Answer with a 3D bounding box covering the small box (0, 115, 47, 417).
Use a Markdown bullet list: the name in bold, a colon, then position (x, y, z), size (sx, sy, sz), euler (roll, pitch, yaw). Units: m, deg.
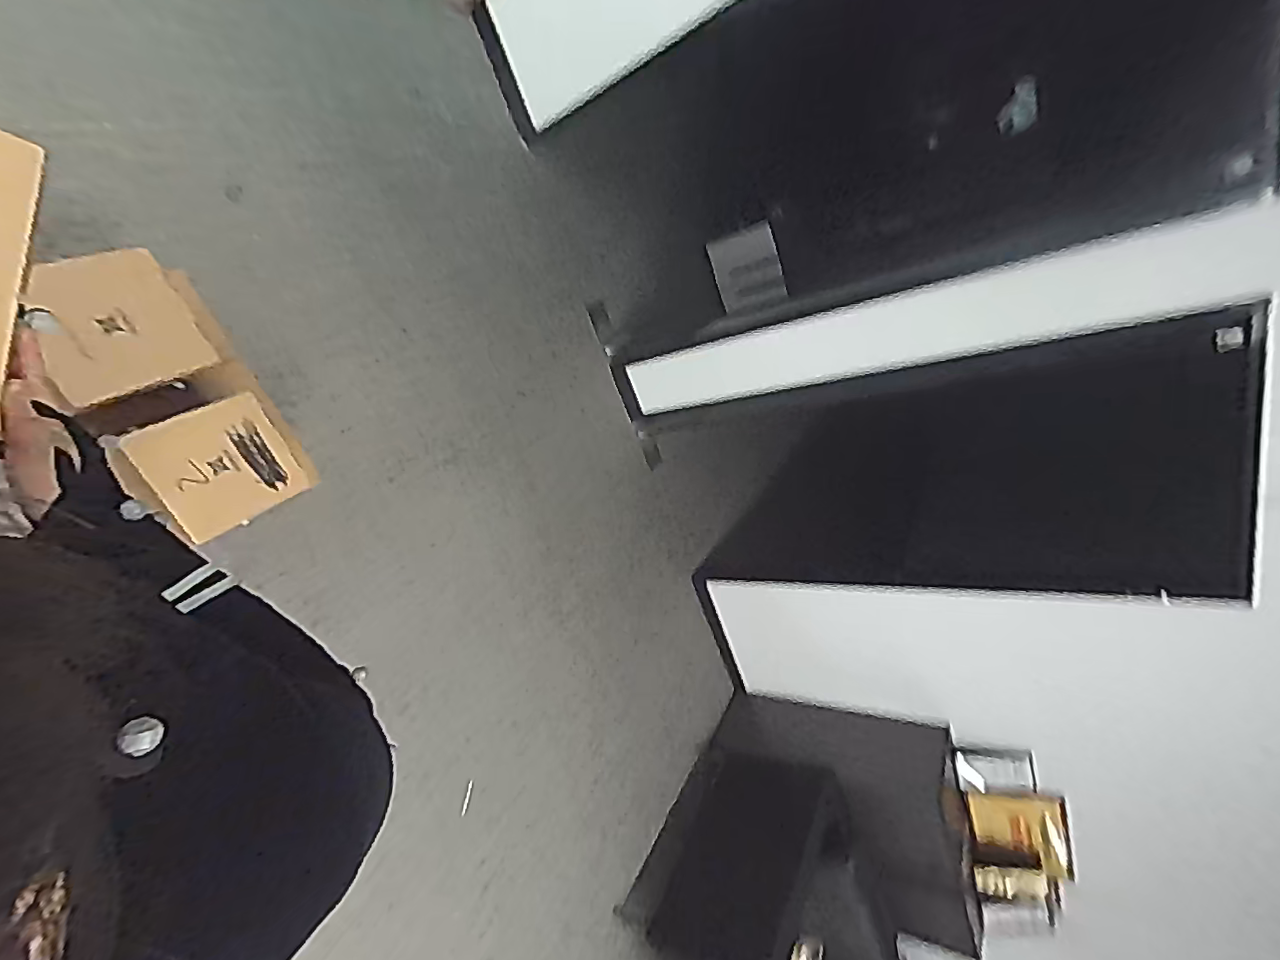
- **small box**: position (-0.474, -0.129, 0.303), size (0.168, 0.176, 0.179), euler (9, 82, -51)
